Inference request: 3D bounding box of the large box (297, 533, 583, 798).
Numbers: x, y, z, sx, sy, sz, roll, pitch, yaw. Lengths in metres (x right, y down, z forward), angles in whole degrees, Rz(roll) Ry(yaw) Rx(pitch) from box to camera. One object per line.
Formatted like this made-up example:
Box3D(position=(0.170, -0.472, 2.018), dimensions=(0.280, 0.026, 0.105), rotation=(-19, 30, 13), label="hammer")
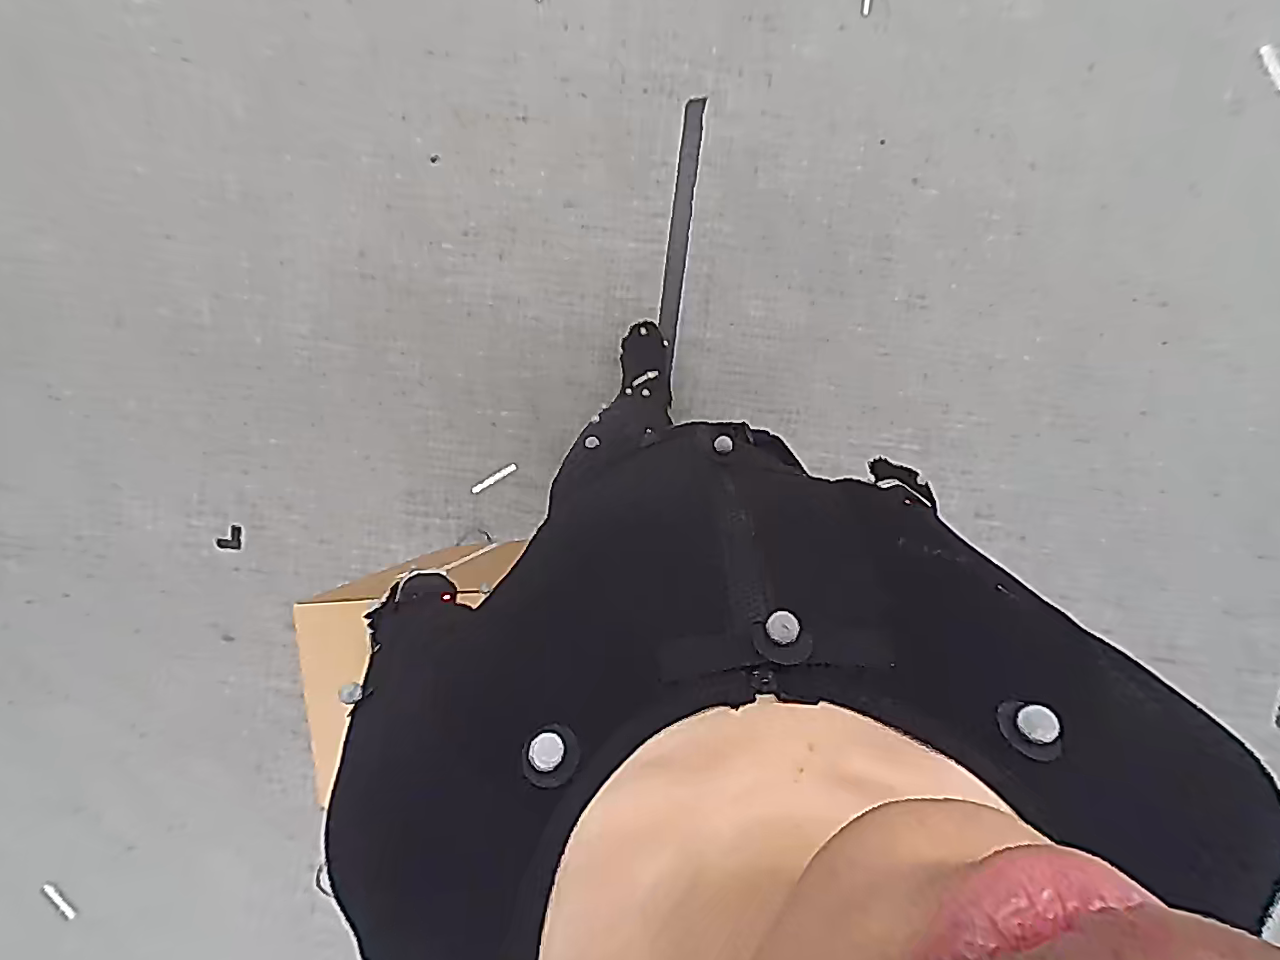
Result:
Box3D(position=(-0.307, 0.289, 0.960), dimensions=(0.320, 0.408, 0.320), rotation=(-6, 94, 10), label="large box")
